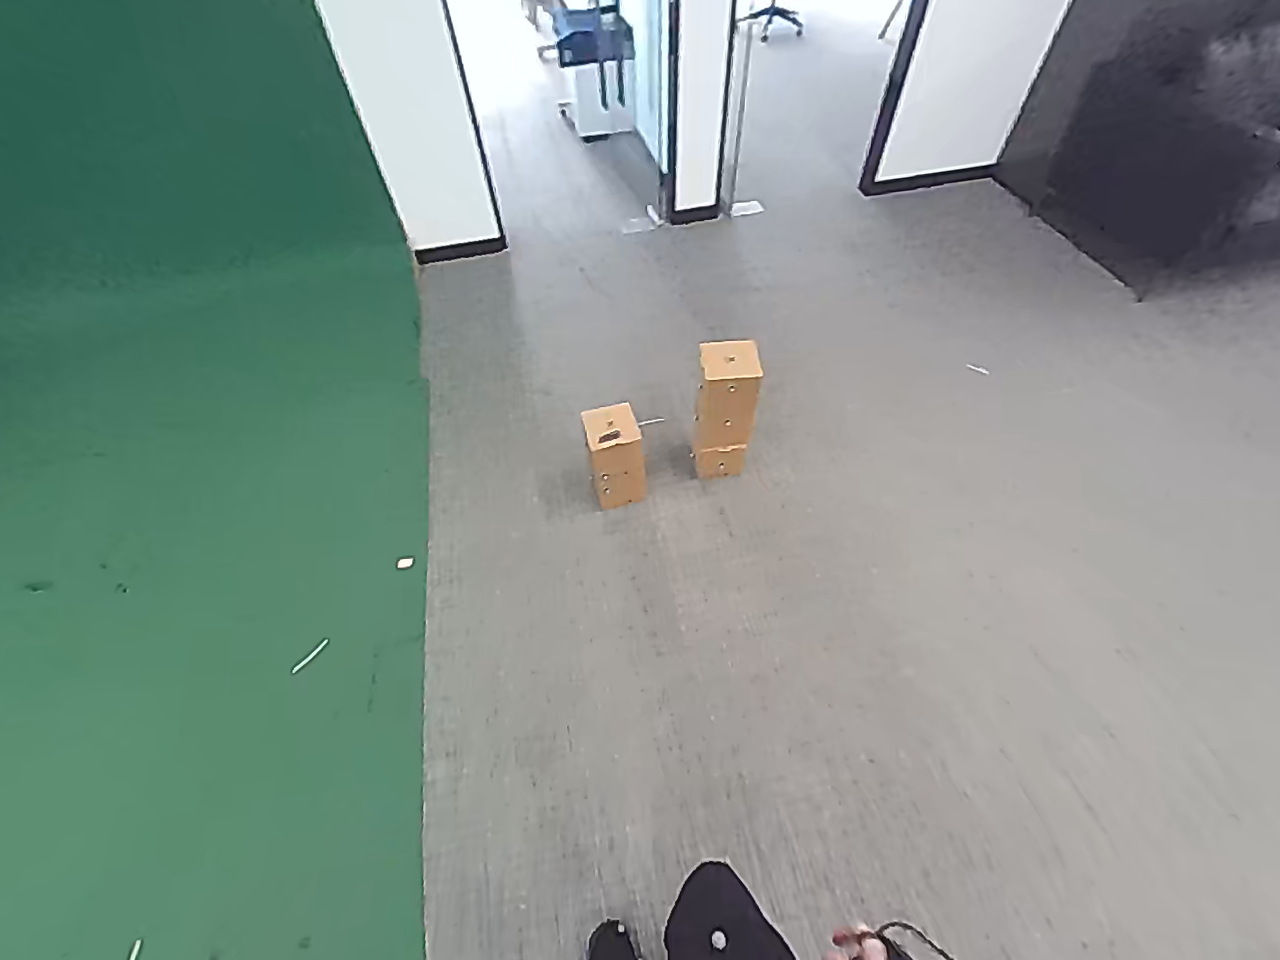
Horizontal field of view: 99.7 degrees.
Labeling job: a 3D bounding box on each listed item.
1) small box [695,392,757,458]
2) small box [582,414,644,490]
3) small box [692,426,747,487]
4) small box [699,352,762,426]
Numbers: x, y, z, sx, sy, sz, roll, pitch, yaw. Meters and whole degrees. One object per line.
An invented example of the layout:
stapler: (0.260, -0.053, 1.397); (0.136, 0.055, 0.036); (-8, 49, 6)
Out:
small box: (0.289, -0.193, 1.854); (0.179, 0.176, 0.168); (-7, 53, -2)
small box: (-0.087, -0.086, 1.785); (0.168, 0.176, 0.179); (-13, 52, -8)
small box: (0.286, -0.087, 1.976); (0.168, 0.176, 0.179); (-5, 53, -2)
small box: (0.280, -0.284, 1.718); (0.179, 0.176, 0.168); (-3, 53, 0)
